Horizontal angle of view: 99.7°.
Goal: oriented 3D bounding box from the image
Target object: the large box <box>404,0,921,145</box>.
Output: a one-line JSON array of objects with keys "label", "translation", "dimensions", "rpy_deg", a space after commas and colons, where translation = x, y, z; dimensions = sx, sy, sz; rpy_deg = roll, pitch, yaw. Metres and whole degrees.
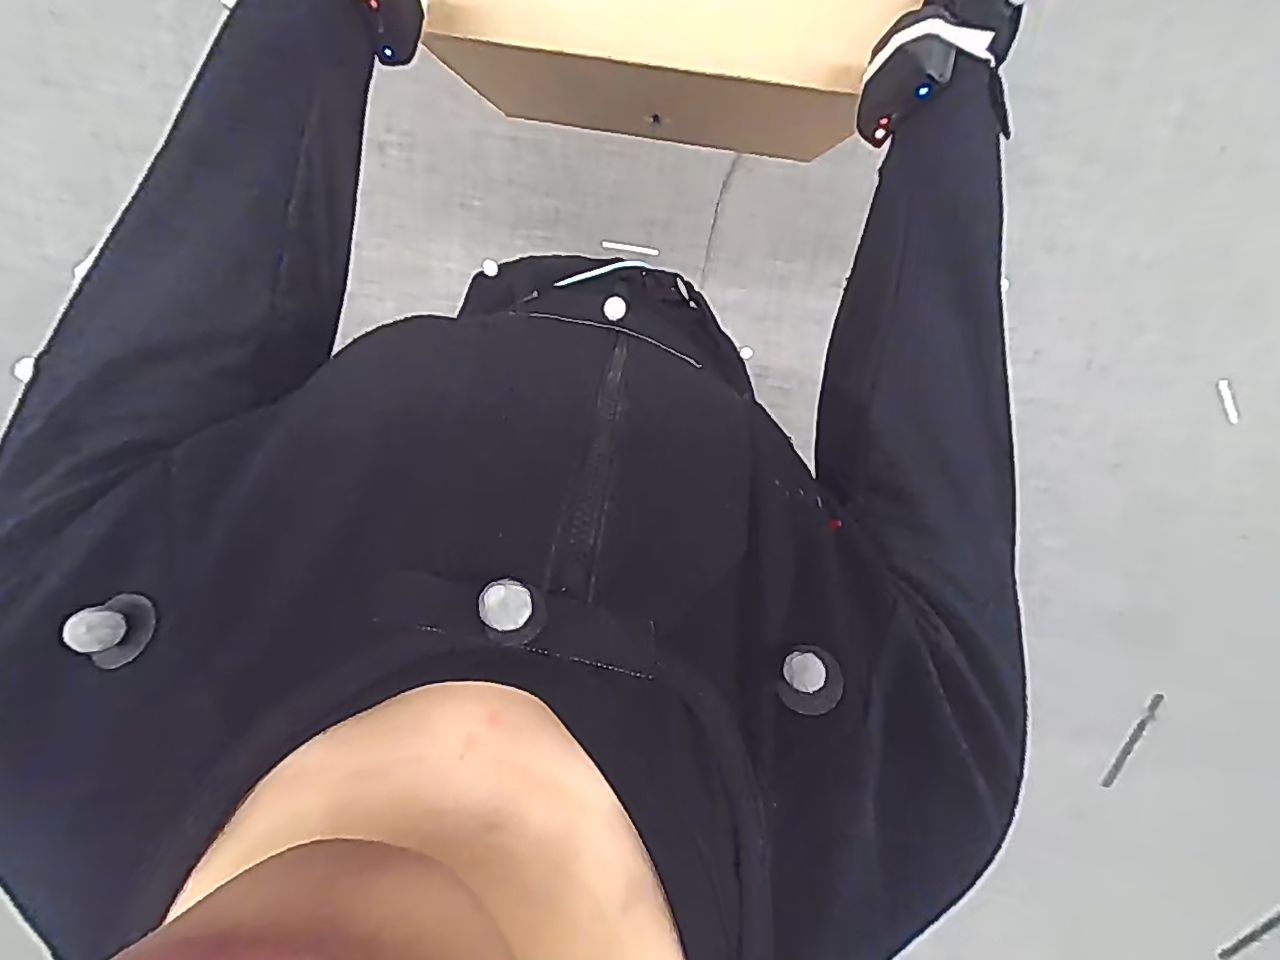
[{"label": "large box", "translation": [0.039, -0.535, 0.505], "dimensions": [0.408, 0.320, 0.320], "rpy_deg": [9, 112, 0]}]
